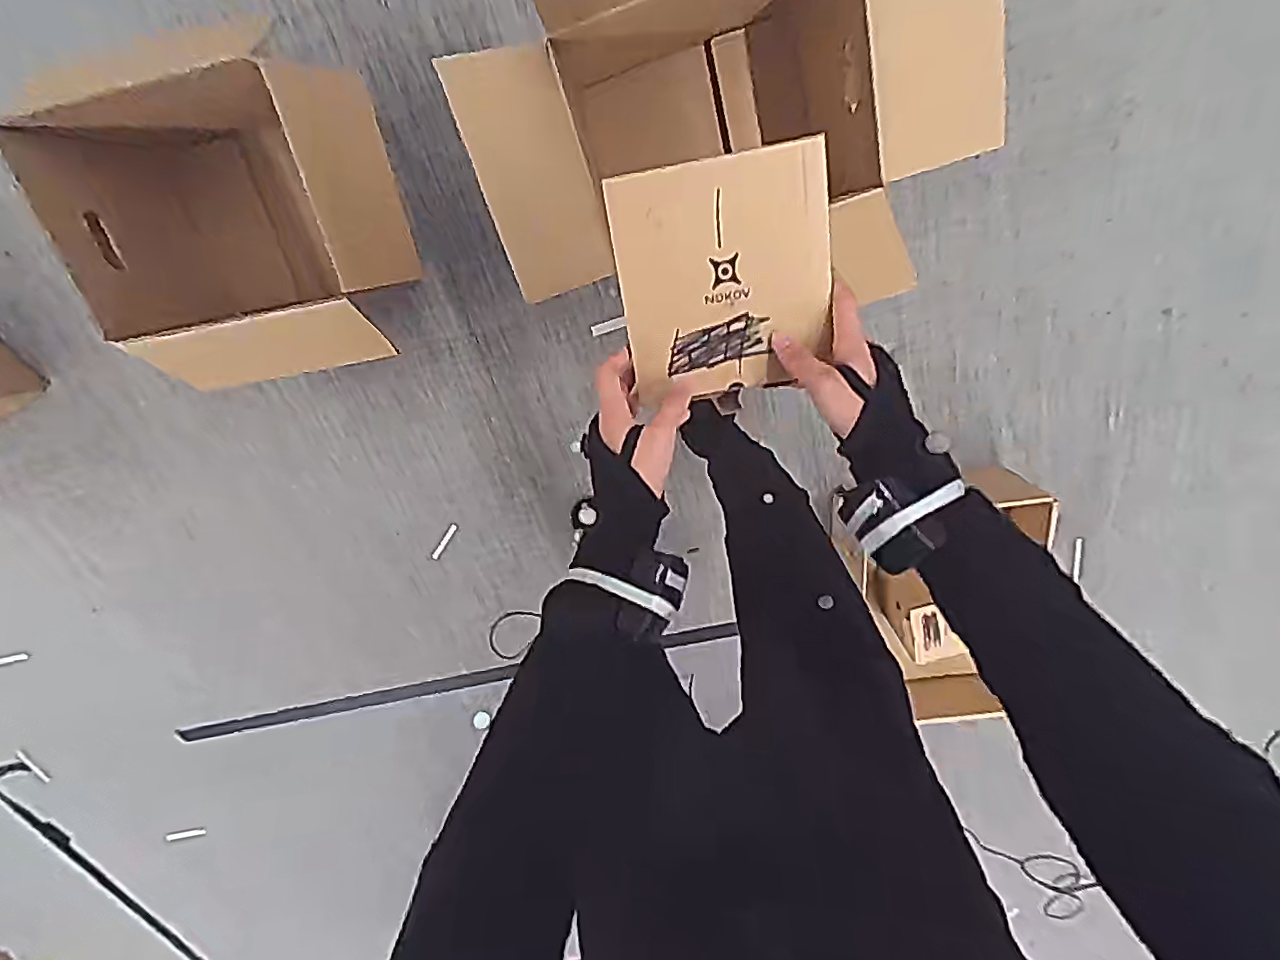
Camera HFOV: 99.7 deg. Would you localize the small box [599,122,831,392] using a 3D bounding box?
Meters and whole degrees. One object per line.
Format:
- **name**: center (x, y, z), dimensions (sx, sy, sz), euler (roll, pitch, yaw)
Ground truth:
- **small box**: center (0.066, -0.194, 0.497), dimensions (0.168, 0.176, 0.179), euler (-9, 110, 5)
